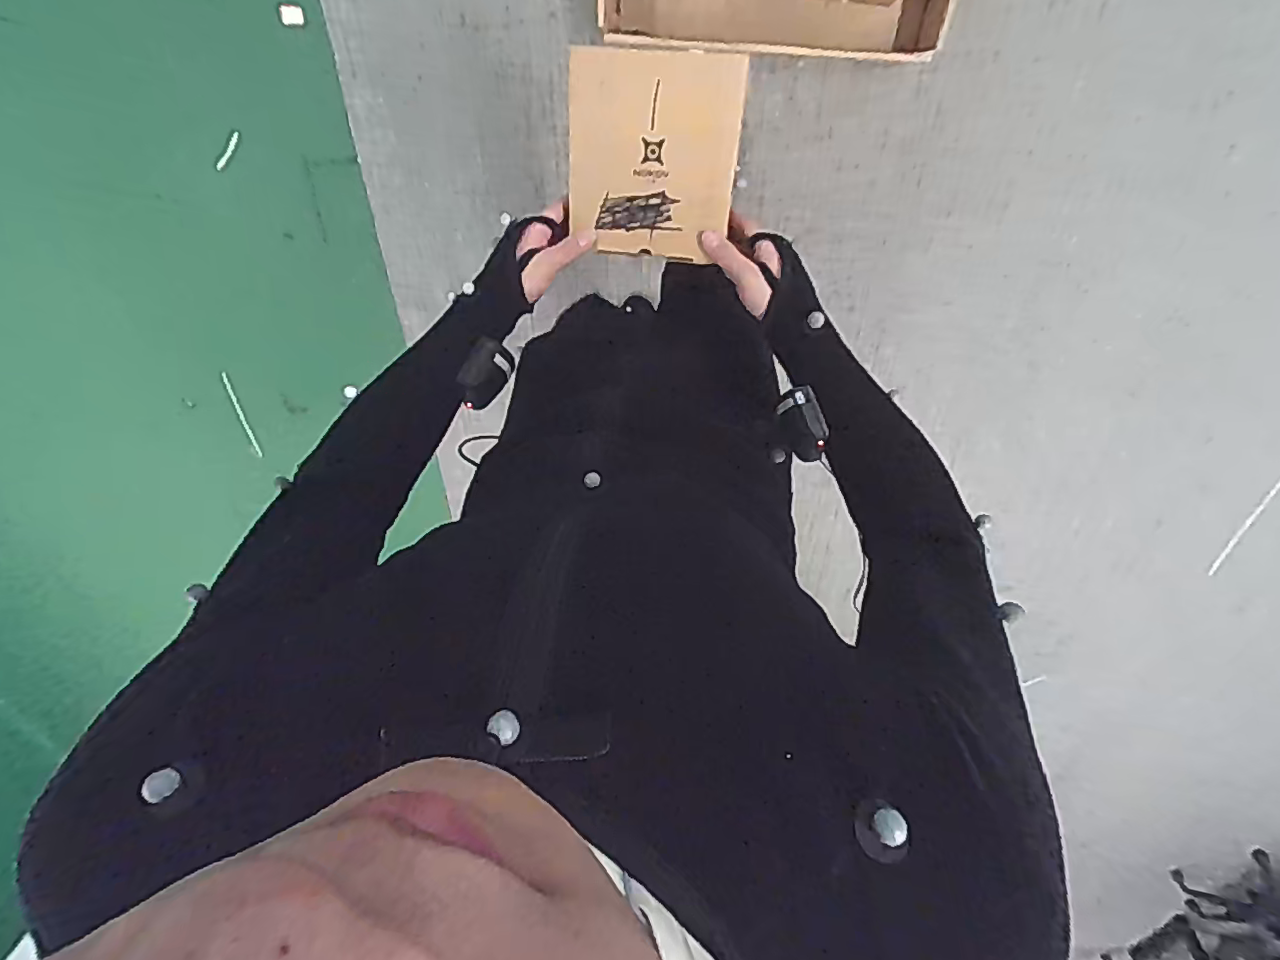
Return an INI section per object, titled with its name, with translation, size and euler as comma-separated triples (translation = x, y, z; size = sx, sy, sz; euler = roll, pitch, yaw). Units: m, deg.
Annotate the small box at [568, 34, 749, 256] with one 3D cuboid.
[small box]
translation = 0.023, -0.353, 0.590
size = 0.168, 0.176, 0.179
euler = 8, 118, 6
